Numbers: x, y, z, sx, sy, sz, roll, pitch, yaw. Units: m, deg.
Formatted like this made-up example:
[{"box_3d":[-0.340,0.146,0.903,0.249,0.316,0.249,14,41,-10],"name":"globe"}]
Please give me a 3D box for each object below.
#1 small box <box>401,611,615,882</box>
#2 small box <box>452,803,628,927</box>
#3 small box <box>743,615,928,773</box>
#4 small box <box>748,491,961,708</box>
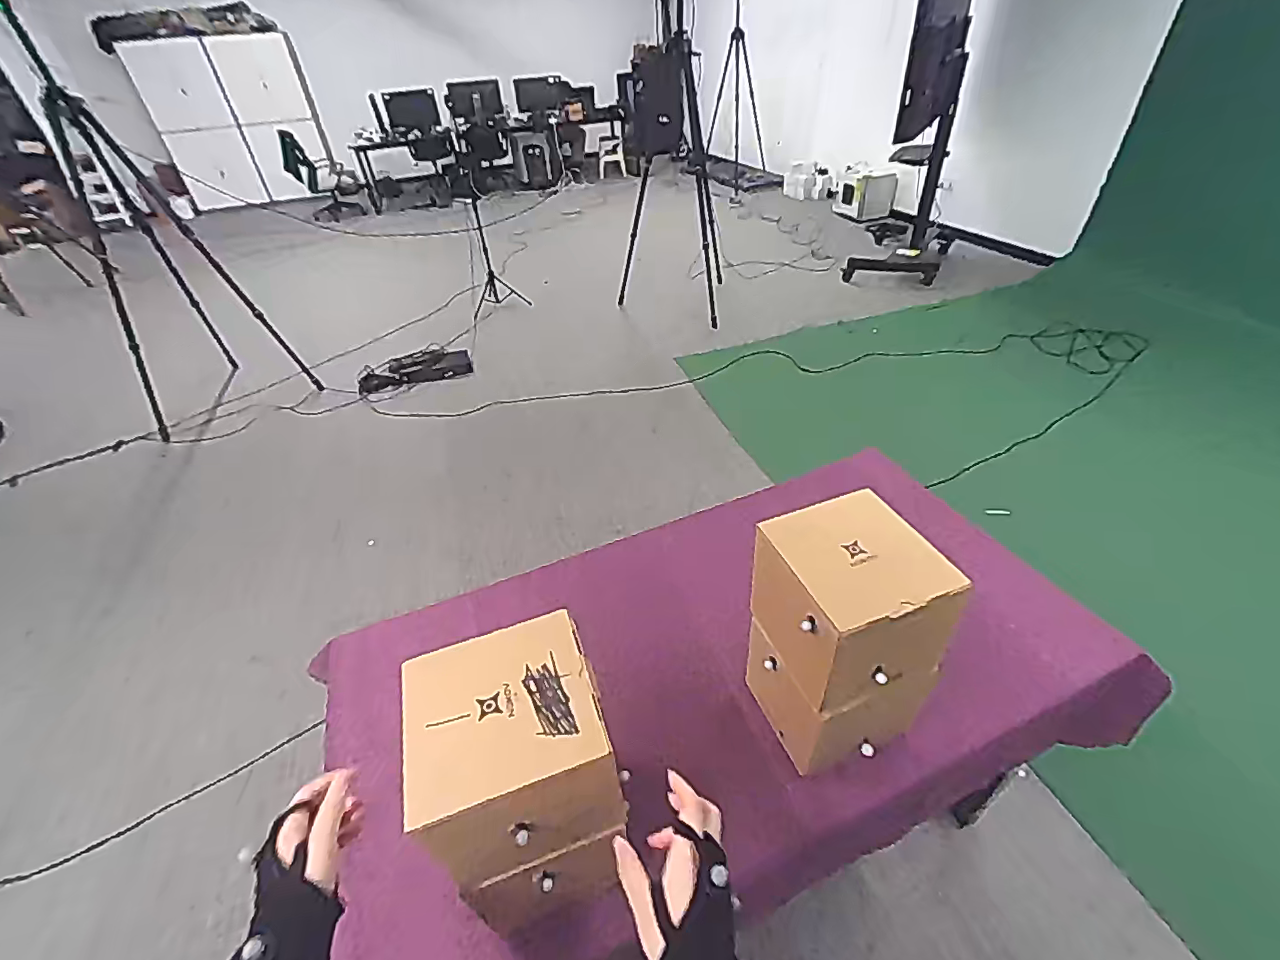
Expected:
[{"box_3d":[-0.130,0.272,0.560,0.179,0.176,0.168,-16,41,-13],"name":"small box"},{"box_3d":[-0.124,0.402,0.661,0.179,0.176,0.168,-15,41,-13],"name":"small box"},{"box_3d":[0.263,0.278,0.773,0.179,0.176,0.168,-16,40,-14],"name":"small box"},{"box_3d":[0.247,0.146,0.677,0.168,0.176,0.179,-16,41,-13],"name":"small box"}]
